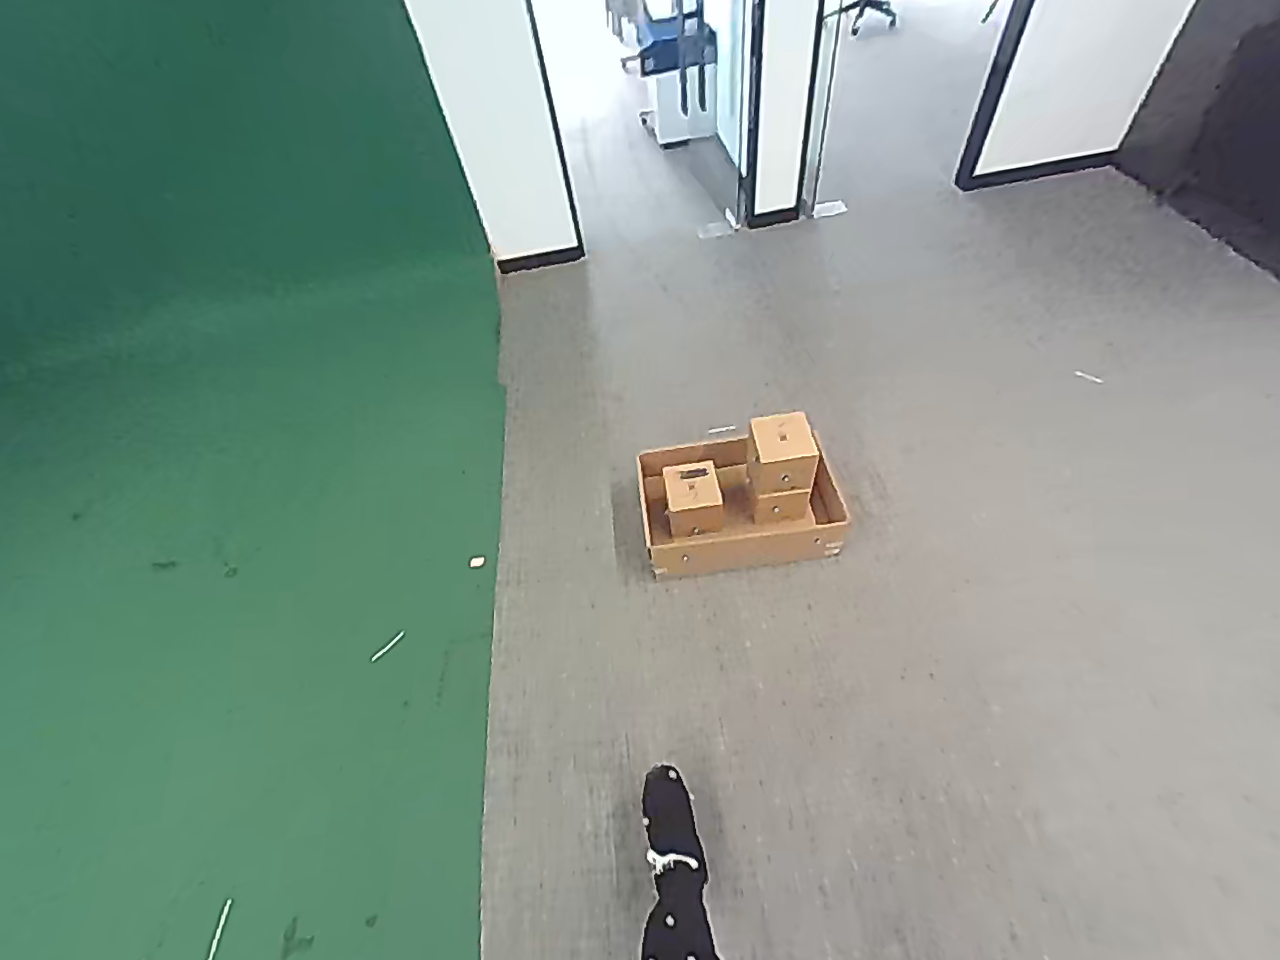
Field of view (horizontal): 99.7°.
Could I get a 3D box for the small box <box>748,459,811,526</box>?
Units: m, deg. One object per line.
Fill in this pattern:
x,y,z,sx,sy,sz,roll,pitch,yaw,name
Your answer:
0.451,0.039,1.768,0.168,0.176,0.179,-8,52,3,small box

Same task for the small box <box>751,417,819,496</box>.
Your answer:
0.433,-0.064,1.640,0.168,0.176,0.179,-7,52,3,small box
